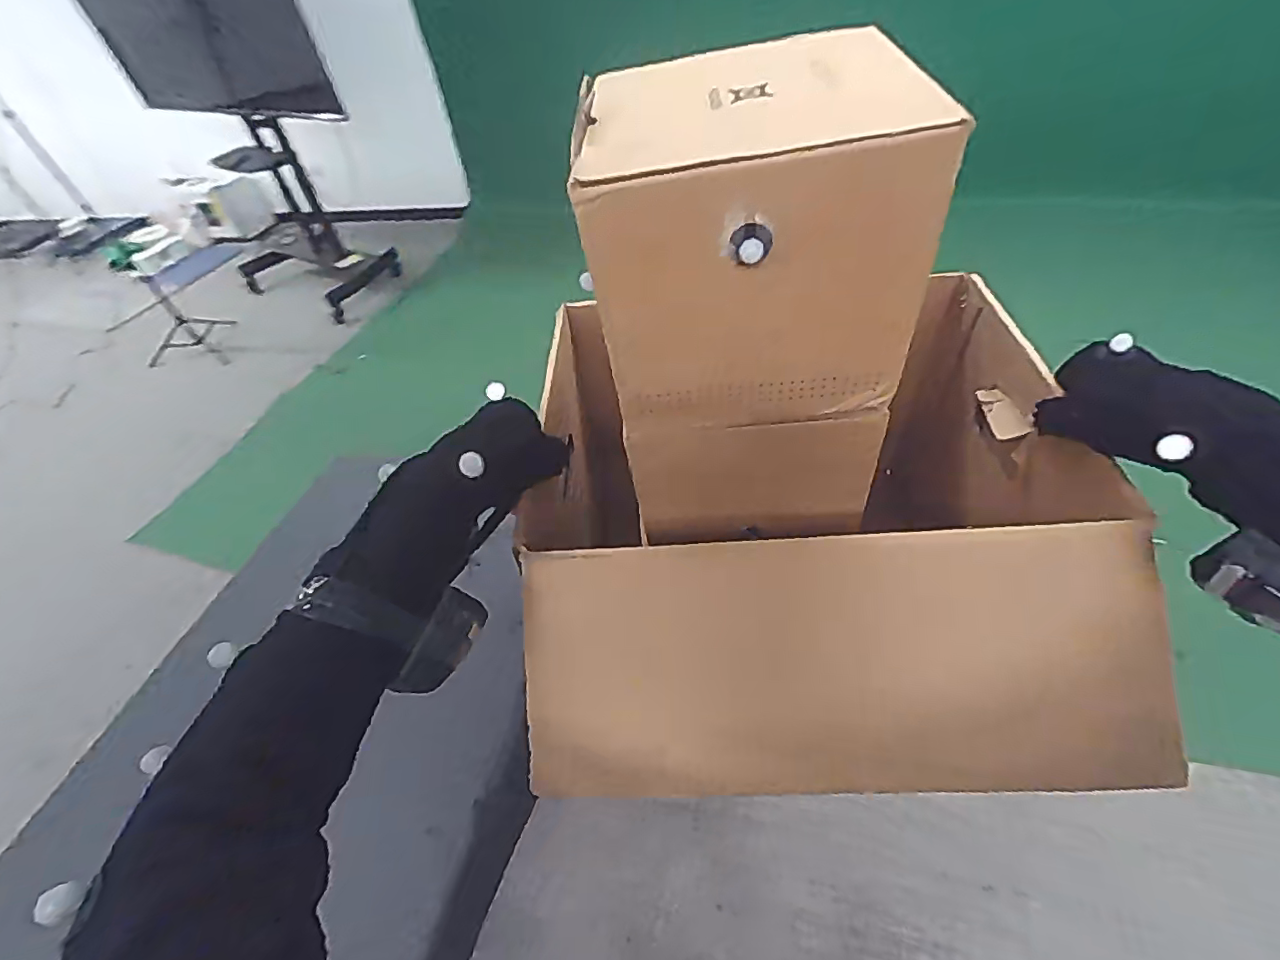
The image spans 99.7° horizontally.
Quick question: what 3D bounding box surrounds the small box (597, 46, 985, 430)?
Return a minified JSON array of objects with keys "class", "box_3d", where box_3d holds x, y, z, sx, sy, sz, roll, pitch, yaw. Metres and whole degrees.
[{"class":"small box","box_3d":[0.078,-0.147,0.354,0.179,0.176,0.168,-4,51,6]}]
